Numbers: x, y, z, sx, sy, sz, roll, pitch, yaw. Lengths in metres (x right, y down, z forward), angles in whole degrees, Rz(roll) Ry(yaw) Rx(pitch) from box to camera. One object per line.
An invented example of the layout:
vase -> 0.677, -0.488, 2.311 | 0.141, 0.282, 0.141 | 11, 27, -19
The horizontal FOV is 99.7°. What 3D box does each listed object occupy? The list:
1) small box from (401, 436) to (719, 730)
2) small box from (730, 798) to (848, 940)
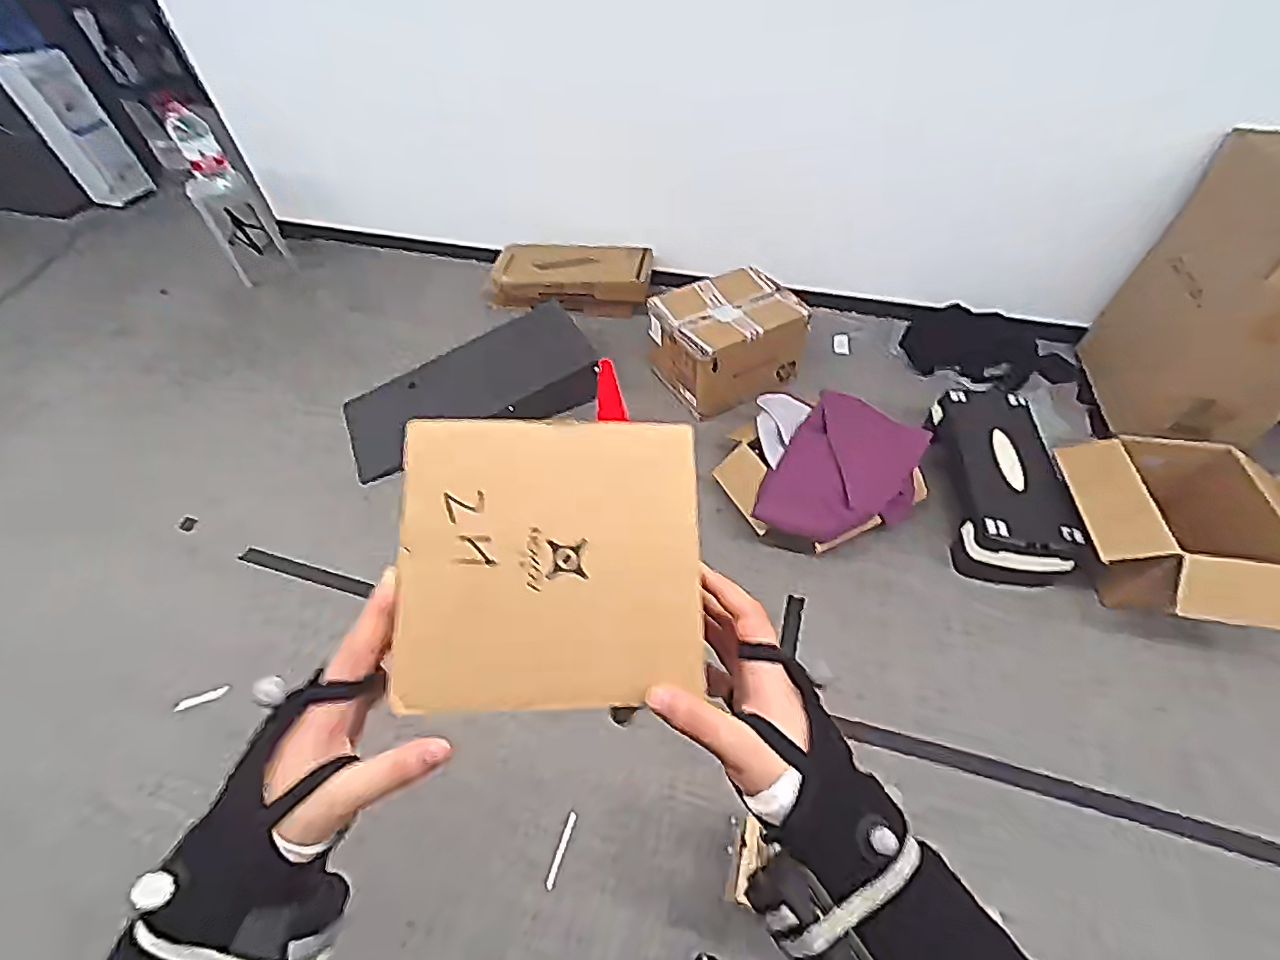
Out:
small box -> -0.051, 0.072, 0.390 | 0.179, 0.176, 0.168 | 0, 76, -6
small box -> 0.272, 0.724, 1.006 | 0.179, 0.176, 0.168 | 13, 52, 12
